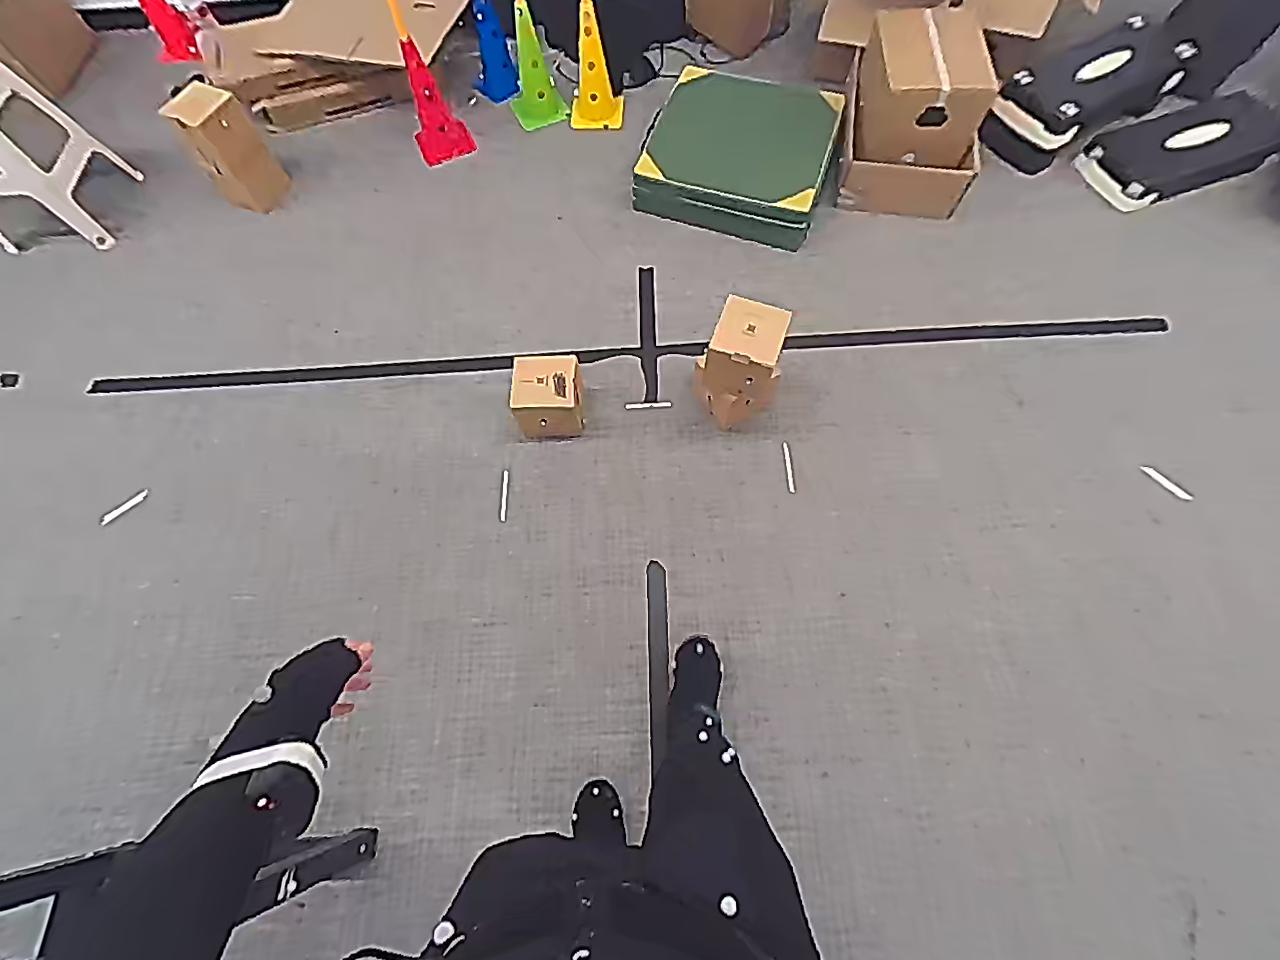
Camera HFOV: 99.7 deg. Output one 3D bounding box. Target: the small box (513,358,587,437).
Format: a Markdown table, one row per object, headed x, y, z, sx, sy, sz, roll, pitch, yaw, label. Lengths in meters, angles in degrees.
| x | y | z | sx | sy | sz | roll | pitch | yaw | label |
| --- | --- | --- | --- | --- | --- | --- | --- | --- | --- |
| -0.247 | -0.230 | 1.540 | 0.179 | 0.176 | 0.168 | -1 | 67 | 3 | small box |

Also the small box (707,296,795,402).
| x | y | z | sx | sy | sz | roll | pitch | yaw | label |
| --- | --- | --- | --- | --- | --- | --- | --- | --- | --- |
| 0.276 | -0.328 | 1.381 | 0.168 | 0.176 | 0.179 | 20 | 69 | 8 | small box |

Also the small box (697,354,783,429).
| x | y | z | sx | sy | sz | roll | pitch | yaw | label |
| --- | --- | --- | --- | --- | --- | --- | --- | --- | --- |
| 0.276 | -0.276 | 1.539 | 0.179 | 0.176 | 0.168 | -33 | 70 | -12 | small box |
